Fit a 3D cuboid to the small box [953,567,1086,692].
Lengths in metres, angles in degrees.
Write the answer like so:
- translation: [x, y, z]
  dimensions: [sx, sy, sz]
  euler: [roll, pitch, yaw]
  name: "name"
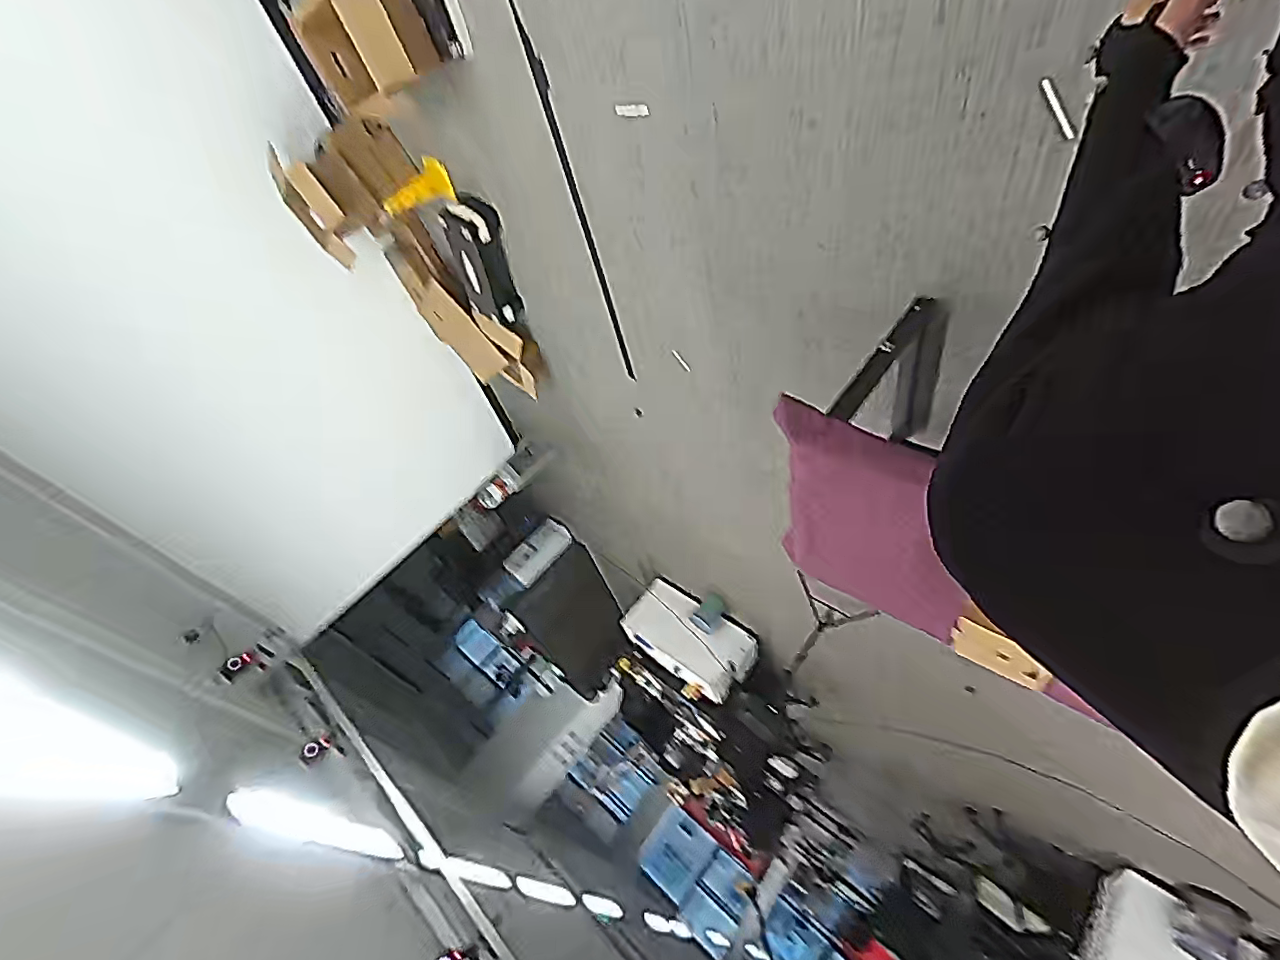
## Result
- translation: [0.816, 0.314, 1.173]
  dimensions: [0.179, 0.176, 0.168]
  euler: [26, 153, 37]
  name: "small box"
